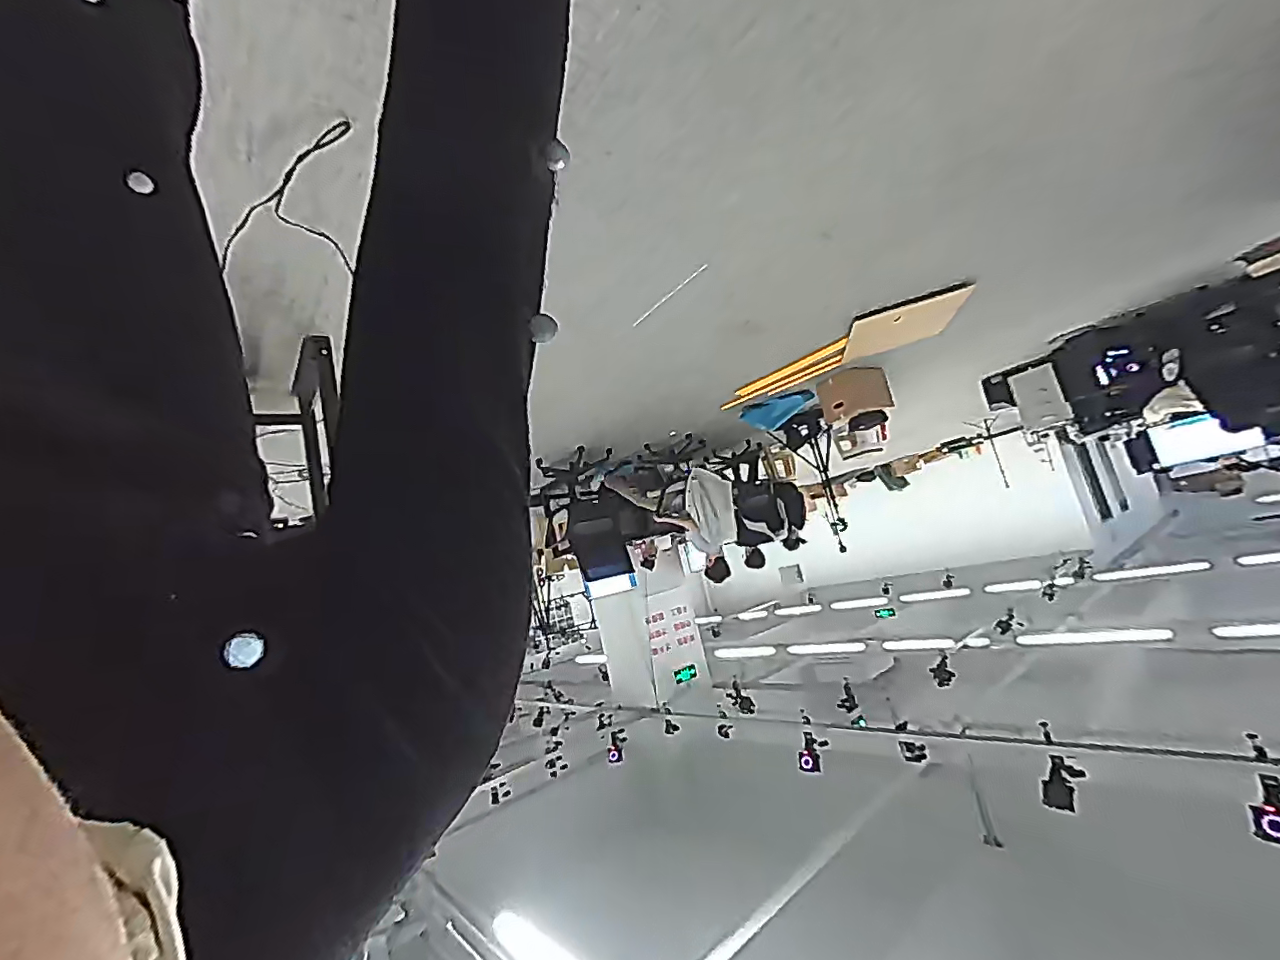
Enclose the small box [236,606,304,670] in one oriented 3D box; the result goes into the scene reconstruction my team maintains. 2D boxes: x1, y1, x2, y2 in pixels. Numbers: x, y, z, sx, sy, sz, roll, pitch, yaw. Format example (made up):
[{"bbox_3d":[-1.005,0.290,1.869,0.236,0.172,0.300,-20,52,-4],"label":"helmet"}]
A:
[{"bbox_3d":[-1.195,0.507,1.745,0.168,0.176,0.179,-5,167,-37],"label":"small box"}]
